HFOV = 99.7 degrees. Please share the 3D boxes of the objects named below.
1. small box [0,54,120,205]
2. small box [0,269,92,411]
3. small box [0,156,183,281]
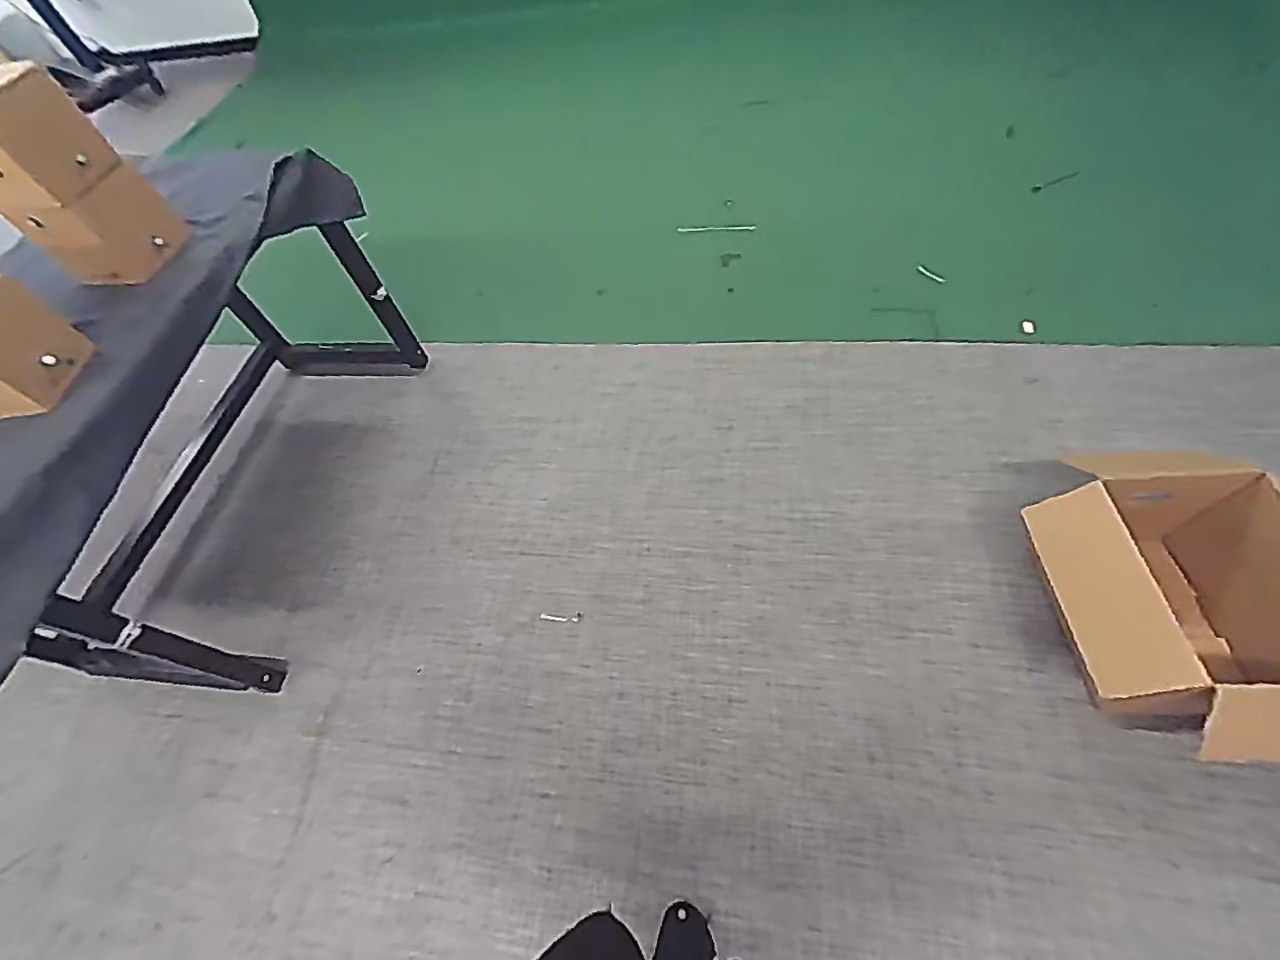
[{"bbox_3d":[-1.122,-0.621,0.965,0.168,0.176,0.179,4,58,10],"label":"small box"},{"bbox_3d":[-1.114,-0.226,0.911,0.179,0.176,0.168,-5,57,3],"label":"small box"},{"bbox_3d":[-1.100,-0.533,1.106,0.168,0.176,0.179,3,58,10],"label":"small box"}]
